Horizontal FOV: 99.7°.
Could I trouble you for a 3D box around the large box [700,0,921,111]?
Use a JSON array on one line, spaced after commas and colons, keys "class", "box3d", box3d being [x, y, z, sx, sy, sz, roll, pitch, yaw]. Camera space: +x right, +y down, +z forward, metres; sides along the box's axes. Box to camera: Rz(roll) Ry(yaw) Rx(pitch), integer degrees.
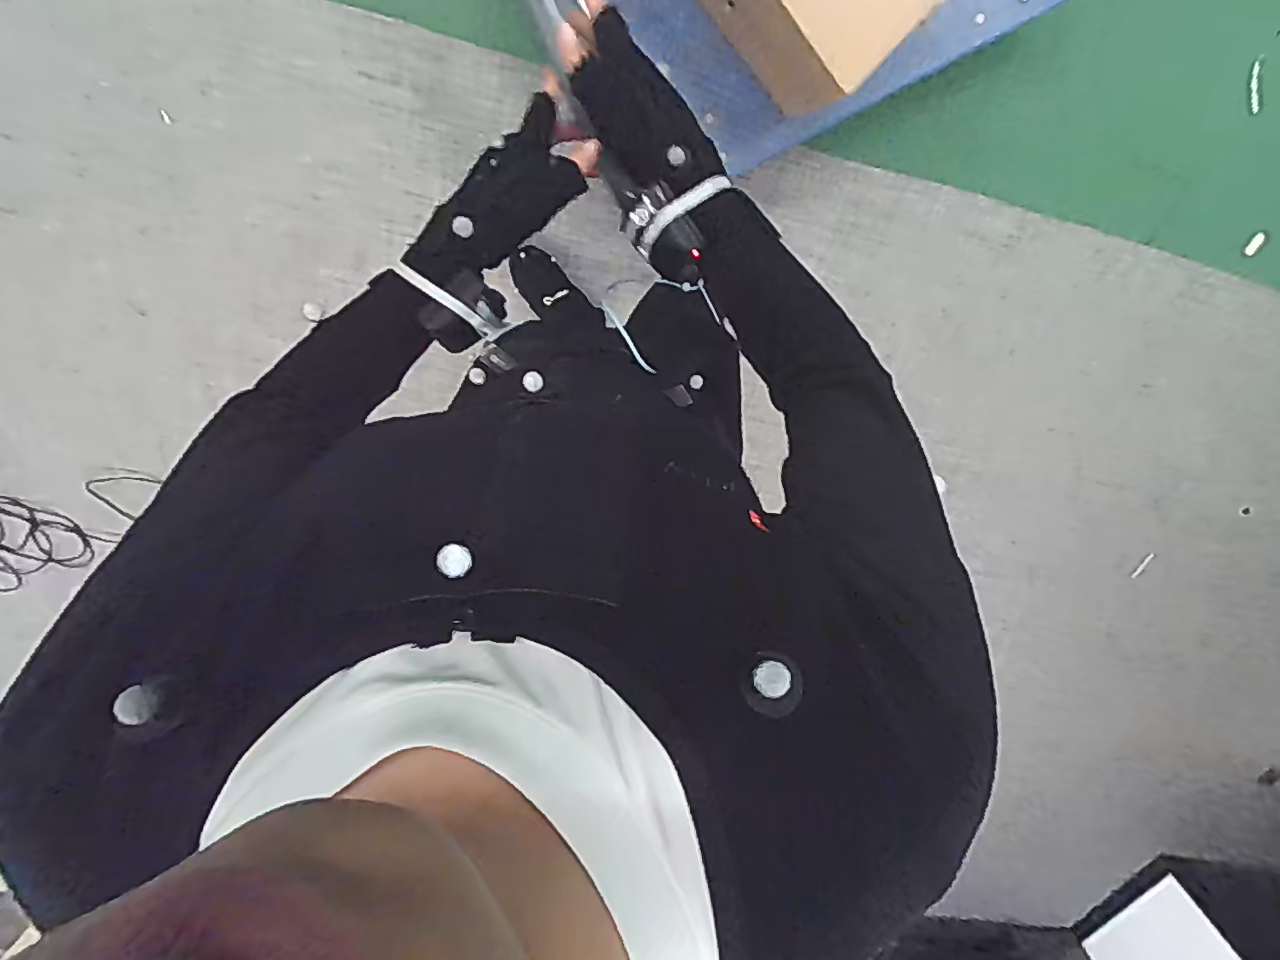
[{"class": "large box", "box3d": [0.239, -0.835, 0.776, 0.408, 0.320, 0.320, 41, 110, -21]}]
